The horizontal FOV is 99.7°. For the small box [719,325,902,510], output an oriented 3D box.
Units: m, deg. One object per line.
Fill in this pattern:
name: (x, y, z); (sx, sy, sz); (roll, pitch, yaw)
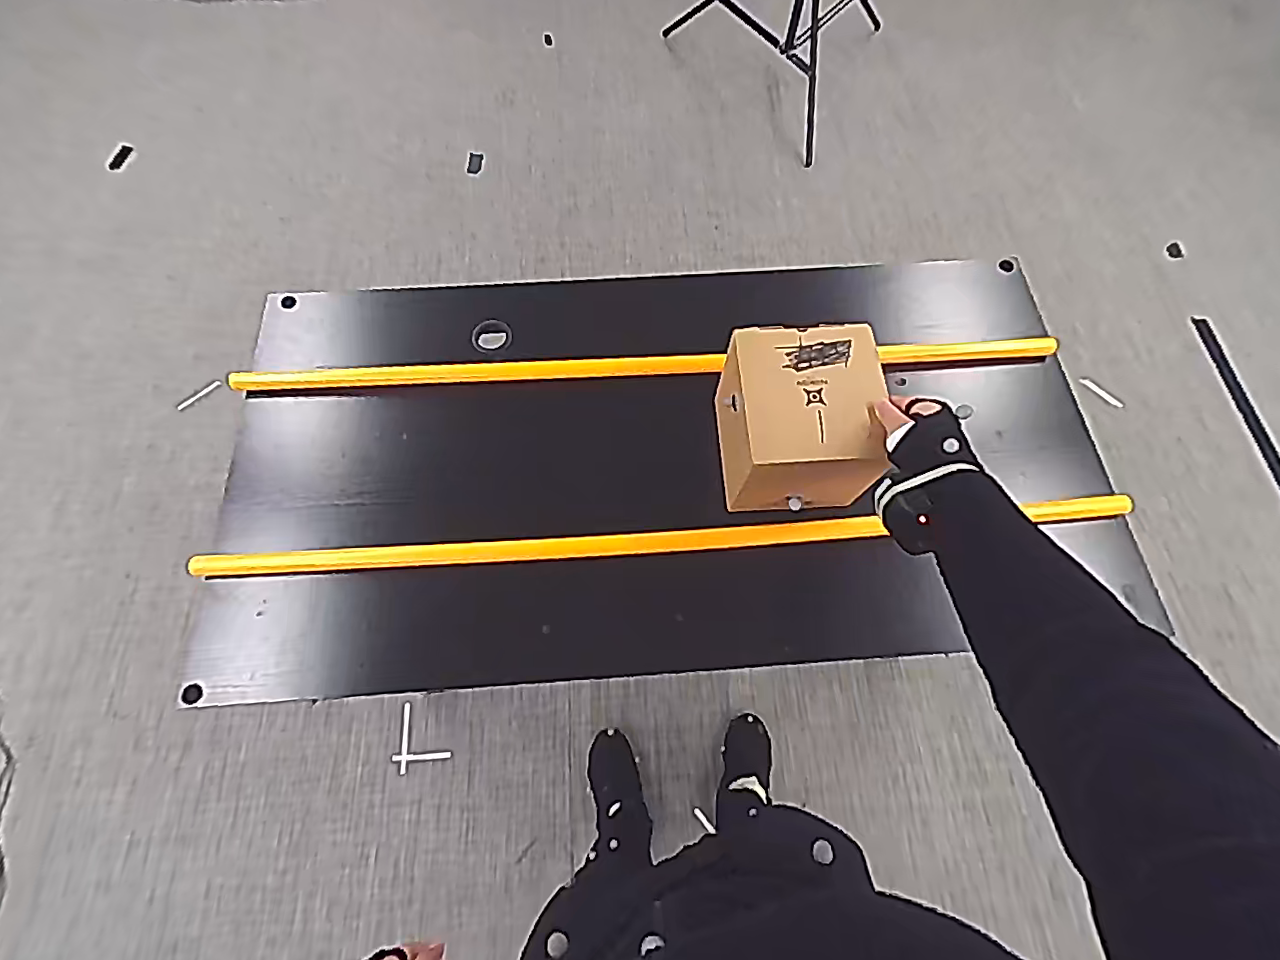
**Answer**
small box: (0.198, -0.073, 0.687); (0.168, 0.176, 0.179); (-3, 69, -1)
